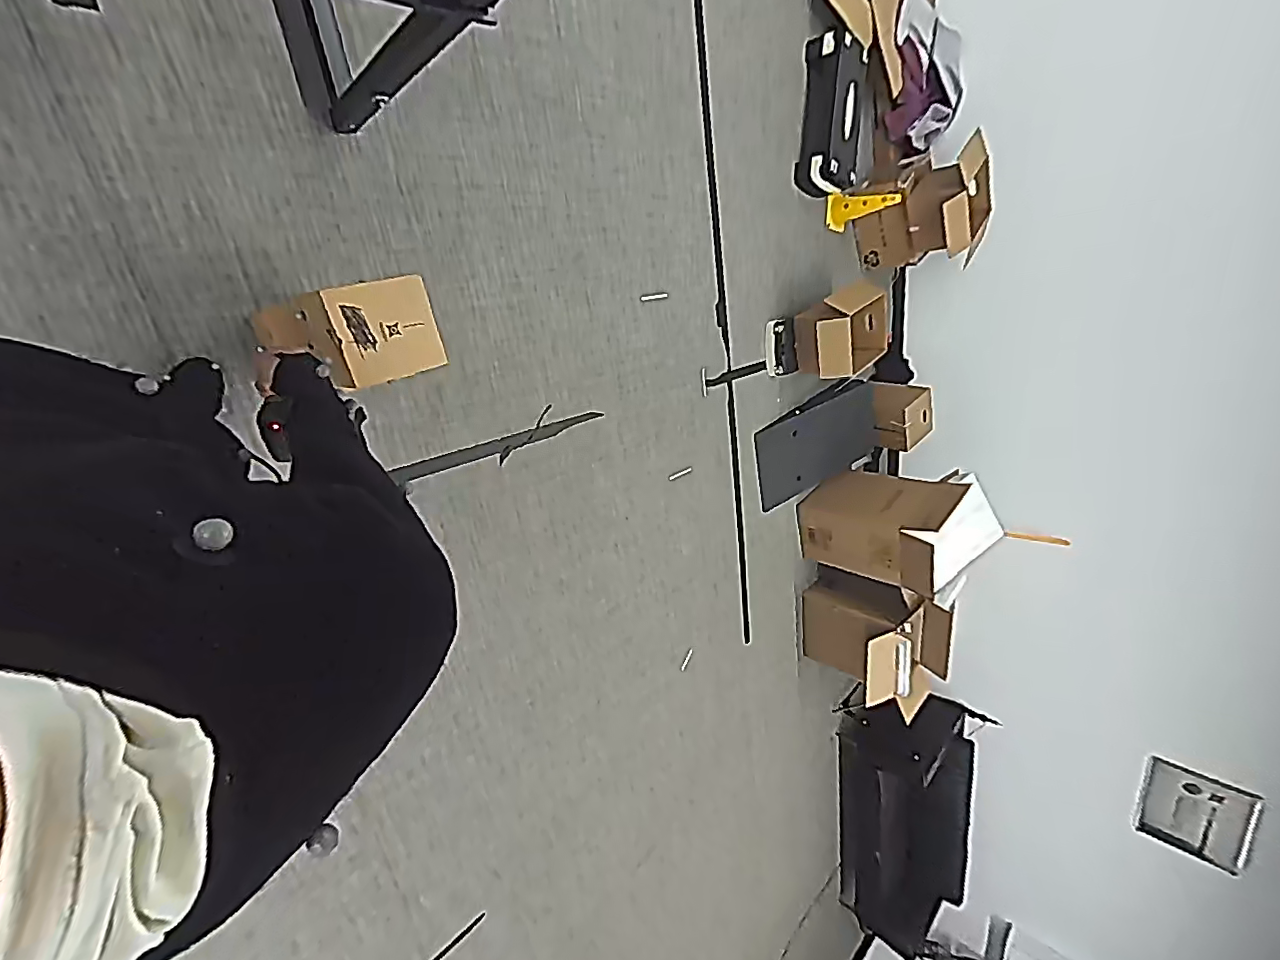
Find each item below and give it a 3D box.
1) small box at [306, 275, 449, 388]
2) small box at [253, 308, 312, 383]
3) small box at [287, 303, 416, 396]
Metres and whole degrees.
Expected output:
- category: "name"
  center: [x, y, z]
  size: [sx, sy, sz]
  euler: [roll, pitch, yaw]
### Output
- category: "small box"
  center: [-0.488, -0.273, 0.997]
  size: [0.179, 0.176, 0.168]
  euler: [-29, 118, -37]
- category: "small box"
  center: [-0.825, -0.345, 1.347]
  size: [0.179, 0.176, 0.168]
  euler: [-26, 117, -37]
- category: "small box"
  center: [-0.597, -0.286, 1.121]
  size: [0.168, 0.176, 0.179]
  euler: [-28, 118, -37]
